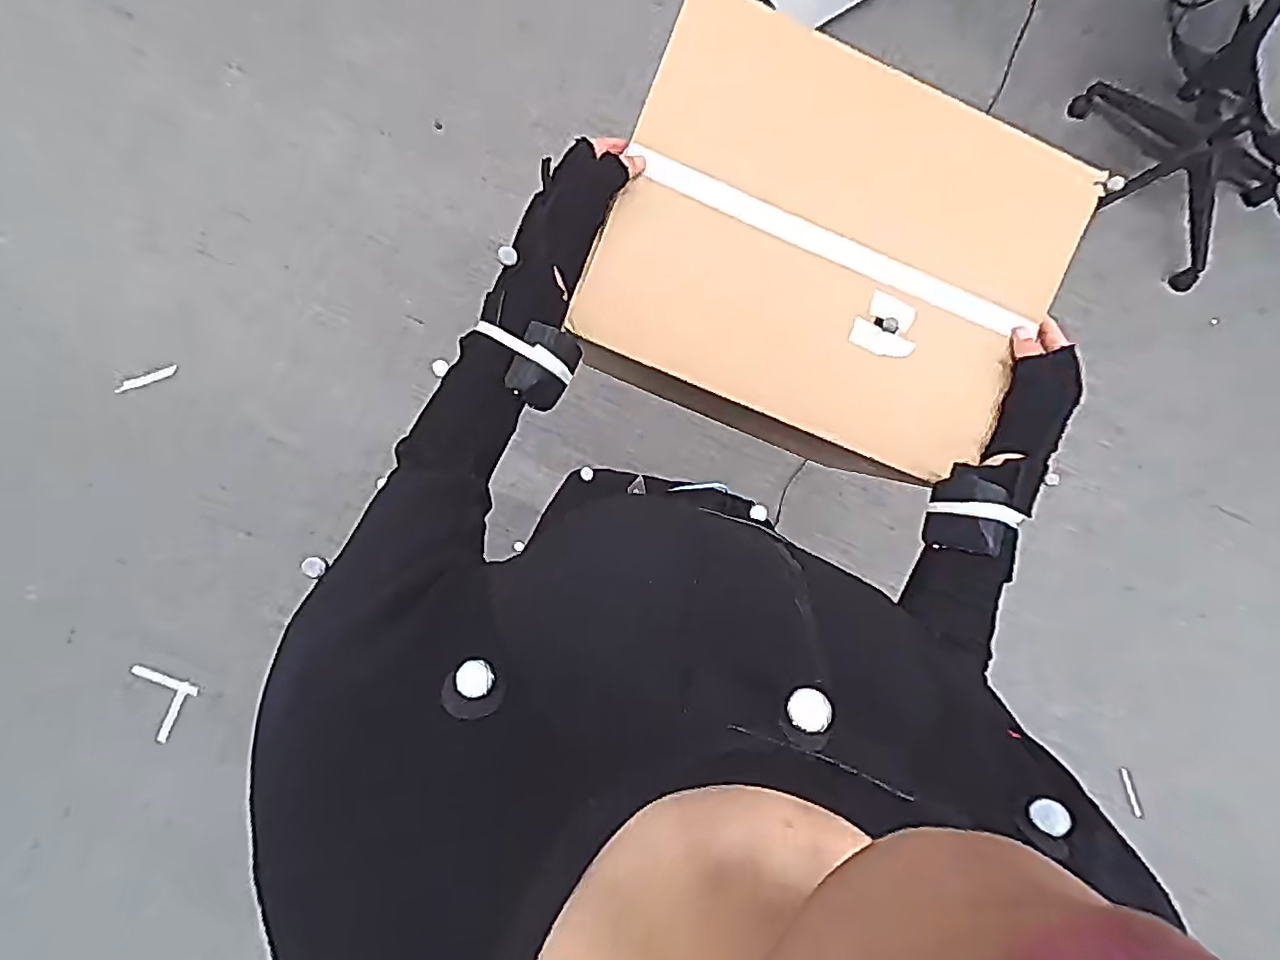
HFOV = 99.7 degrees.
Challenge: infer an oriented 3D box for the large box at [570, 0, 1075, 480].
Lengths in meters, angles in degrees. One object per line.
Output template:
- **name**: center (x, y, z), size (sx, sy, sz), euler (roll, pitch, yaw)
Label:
- **large box**: center (0.159, -0.224, 0.643), size (0.408, 0.320, 0.320), euler (22, 95, -7)
